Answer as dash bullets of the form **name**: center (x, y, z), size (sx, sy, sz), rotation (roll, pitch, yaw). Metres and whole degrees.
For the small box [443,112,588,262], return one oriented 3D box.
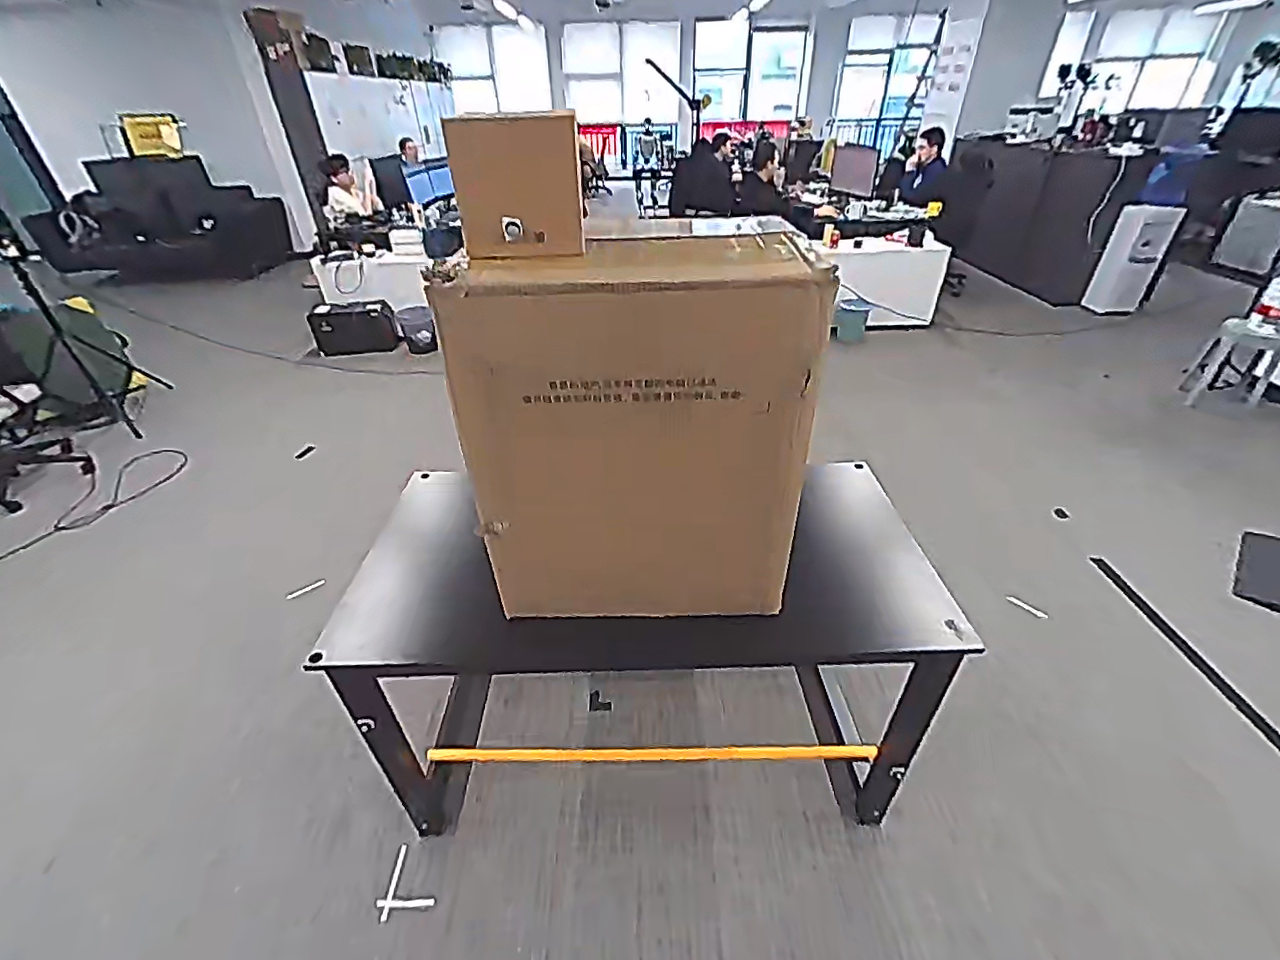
- **small box**: center (-0.165, -0.421, 0.774), size (0.168, 0.176, 0.179), rotation (-5, 37, -4)
